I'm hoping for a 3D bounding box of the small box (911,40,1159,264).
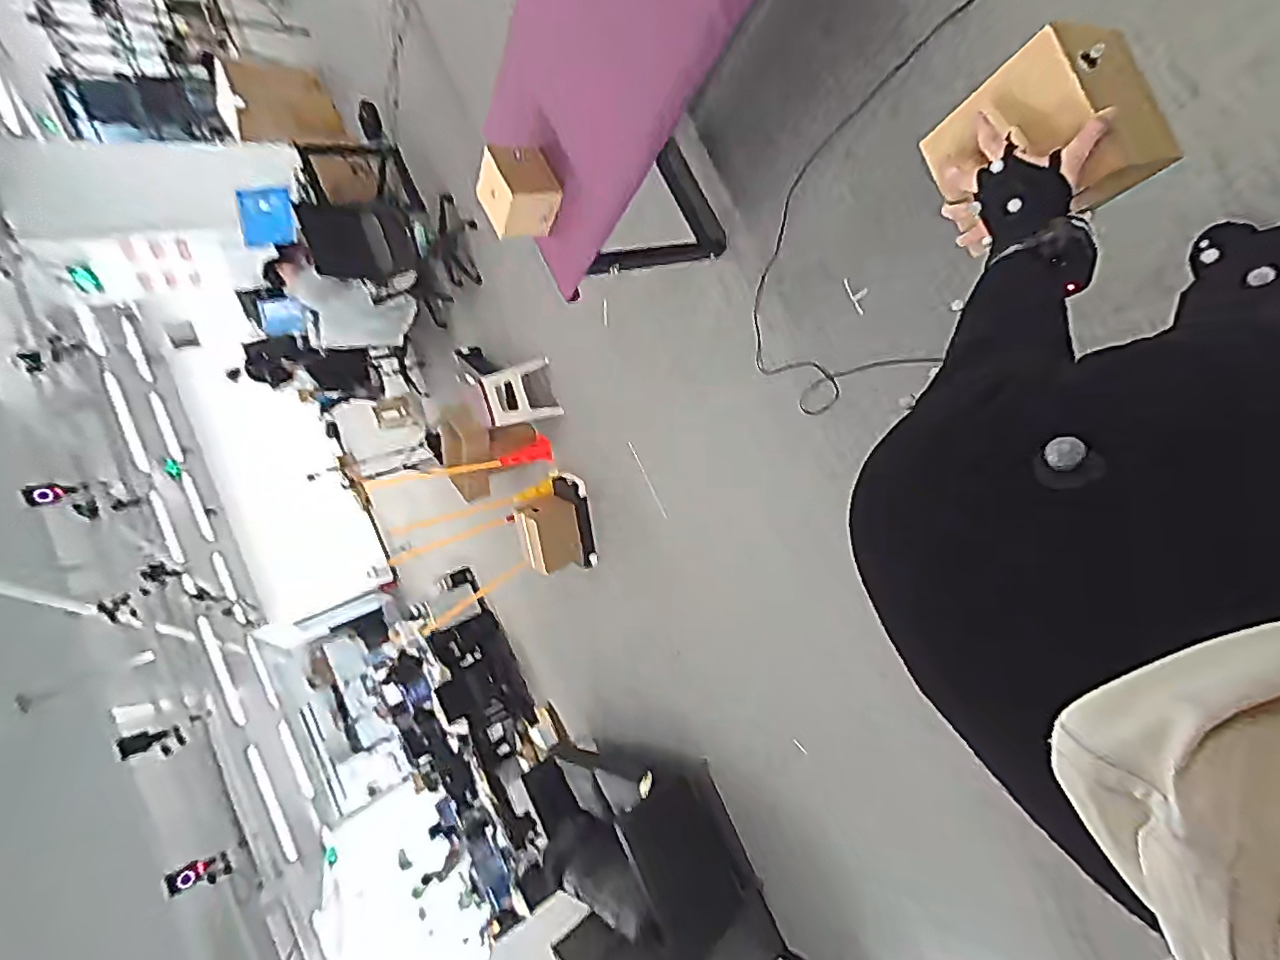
[{"bbox_3d":[0.495,-0.406,0.688,0.179,0.176,0.168,66,154,4],"label":"small box"}]

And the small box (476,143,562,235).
[{"bbox_3d":[-0.353,-0.844,1.578,0.179,0.176,0.168,62,147,8],"label":"small box"}]
